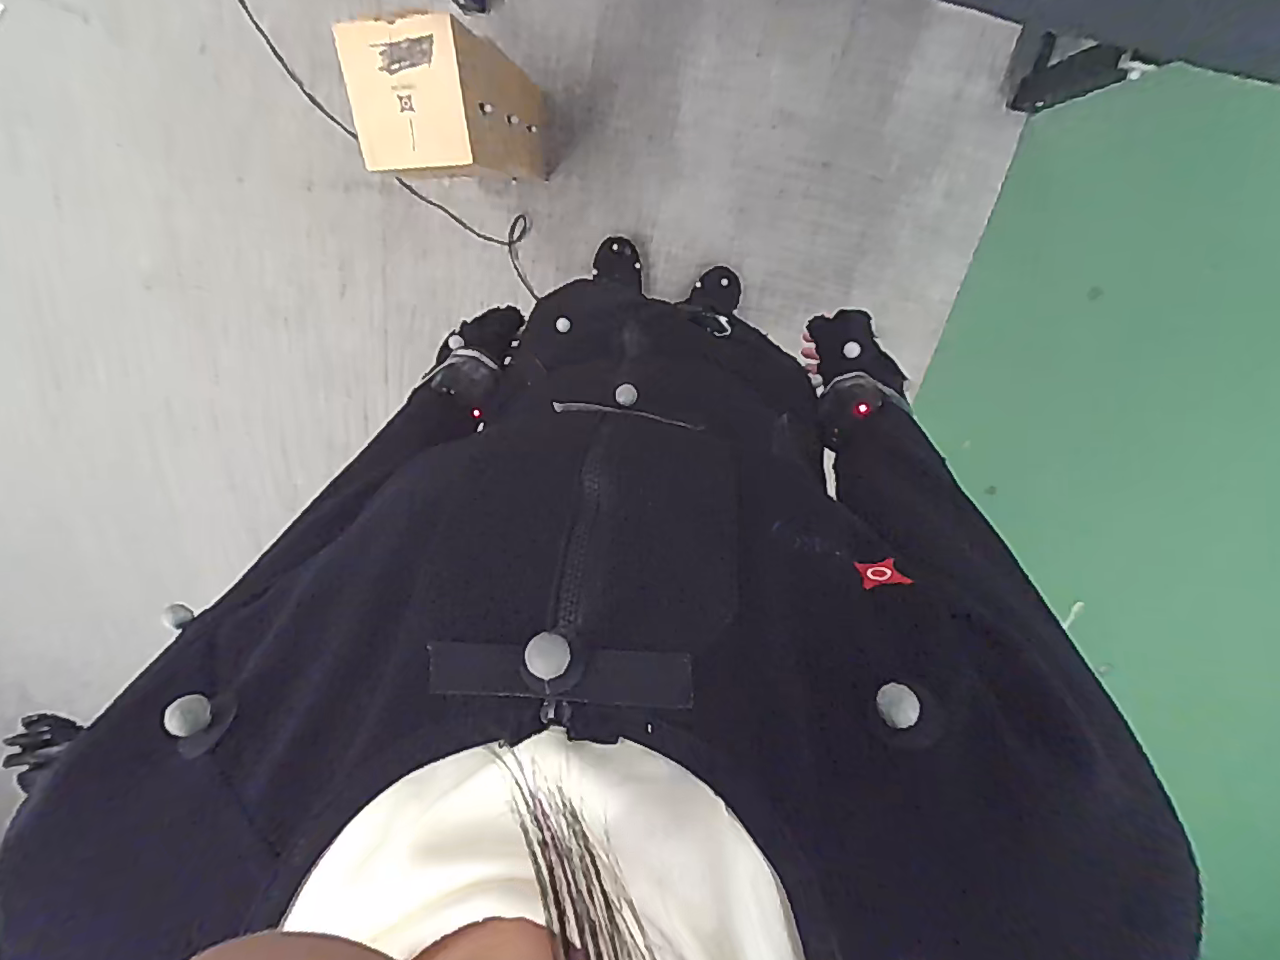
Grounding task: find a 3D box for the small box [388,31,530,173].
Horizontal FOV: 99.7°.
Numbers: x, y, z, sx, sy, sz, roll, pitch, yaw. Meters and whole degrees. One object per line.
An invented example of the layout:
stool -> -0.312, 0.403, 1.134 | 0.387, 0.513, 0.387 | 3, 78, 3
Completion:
small box -> -0.308, -0.657, 0.963 | 0.168, 0.176, 0.179 | -2, 114, 9
